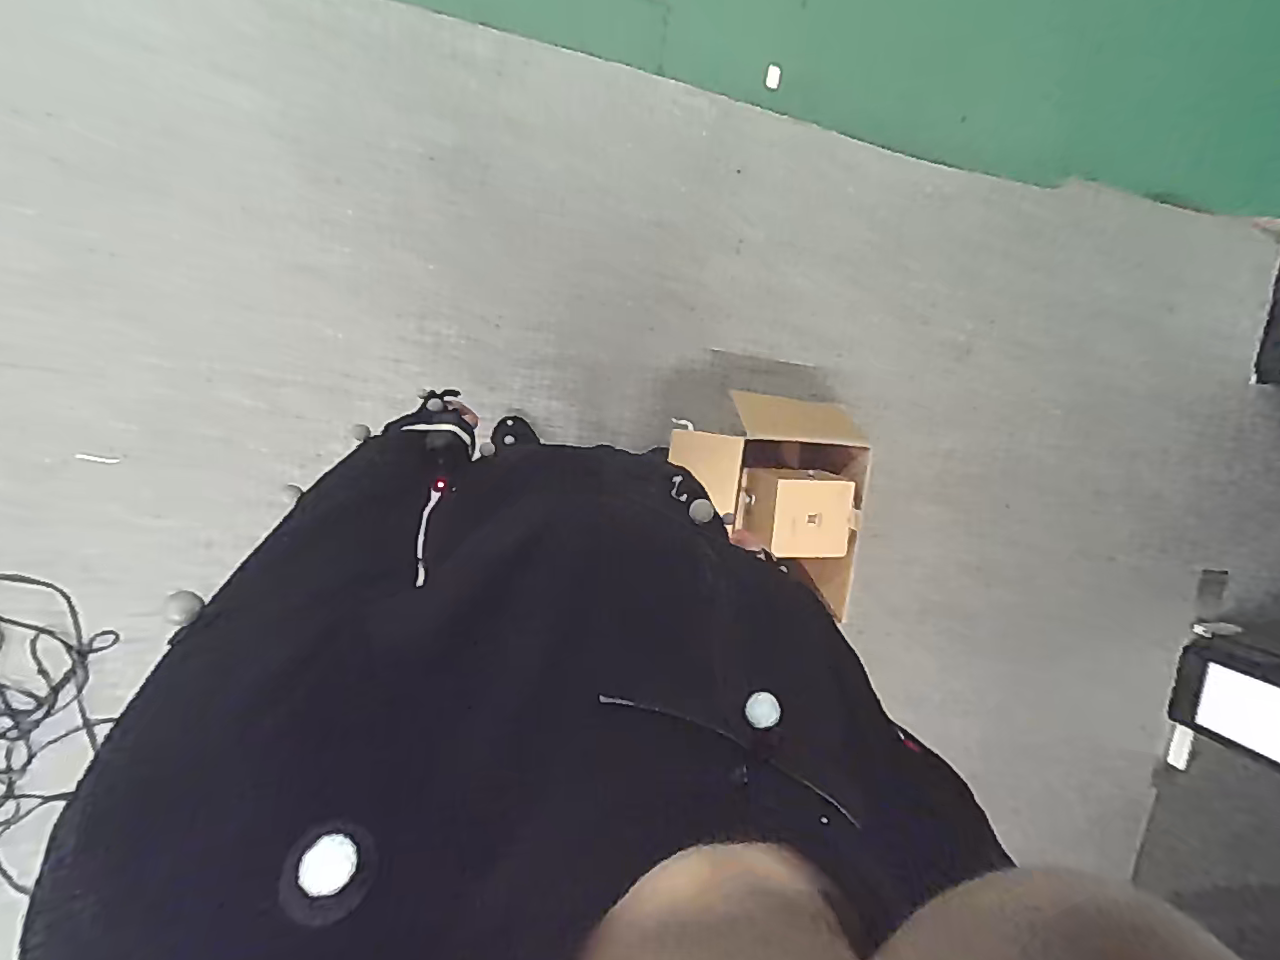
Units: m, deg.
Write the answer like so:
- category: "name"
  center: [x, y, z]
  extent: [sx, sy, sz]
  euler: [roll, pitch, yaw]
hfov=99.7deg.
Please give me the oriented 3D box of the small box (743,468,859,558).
- category: "small box"
  center: [0.345, 0.067, 1.180]
  extent: [0.179, 0.176, 0.168]
  euler: [2, 99, -11]
